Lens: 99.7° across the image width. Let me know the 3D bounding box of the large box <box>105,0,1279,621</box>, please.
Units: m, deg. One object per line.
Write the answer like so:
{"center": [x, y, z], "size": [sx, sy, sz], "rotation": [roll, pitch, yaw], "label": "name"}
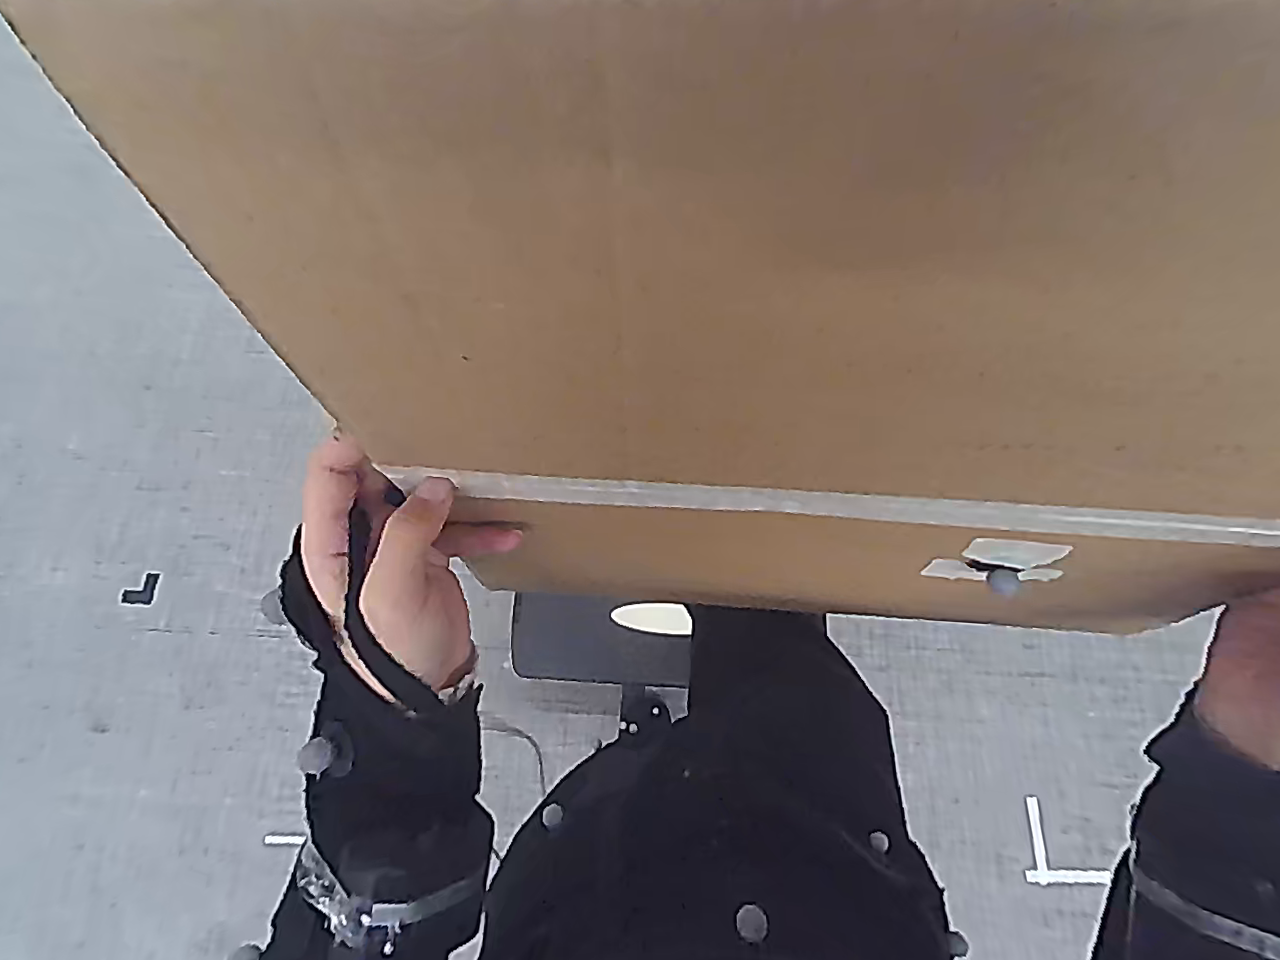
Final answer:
{"center": [0.101, -0.124, 0.295], "size": [0.408, 0.320, 0.320], "rotation": [2, 62, 3], "label": "large box"}
